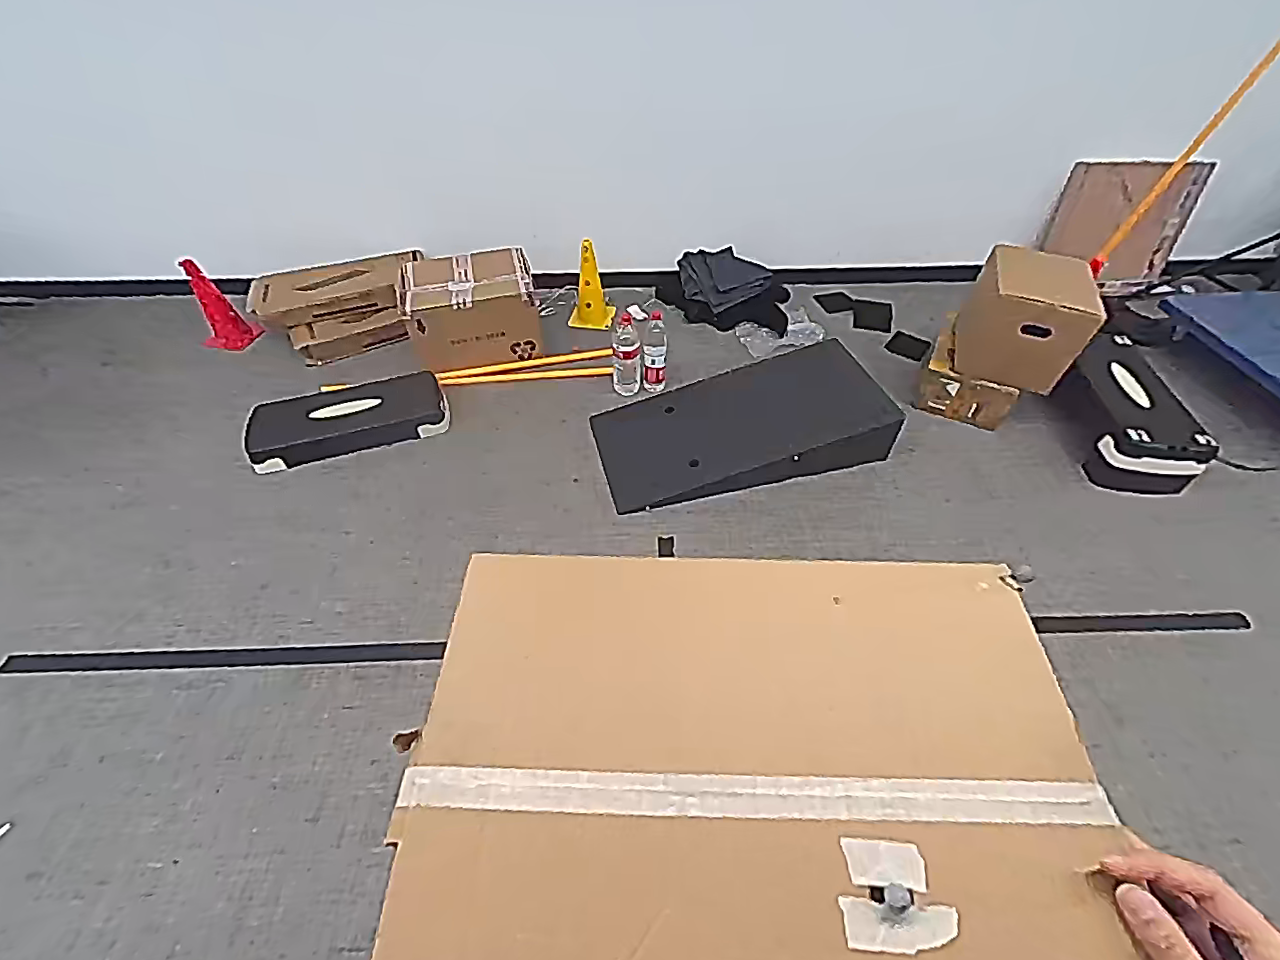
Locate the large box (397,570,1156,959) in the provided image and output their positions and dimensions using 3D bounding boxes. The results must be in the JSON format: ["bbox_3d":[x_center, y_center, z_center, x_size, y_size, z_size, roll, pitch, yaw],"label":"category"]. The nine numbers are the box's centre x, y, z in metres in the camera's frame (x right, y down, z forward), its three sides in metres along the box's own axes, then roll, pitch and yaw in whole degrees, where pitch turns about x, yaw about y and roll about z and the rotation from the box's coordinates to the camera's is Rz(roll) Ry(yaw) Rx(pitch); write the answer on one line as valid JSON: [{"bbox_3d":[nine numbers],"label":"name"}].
[{"bbox_3d":[0.069,0.283,0.444,0.408,0.320,0.320,1,54,1],"label":"large box"}]
